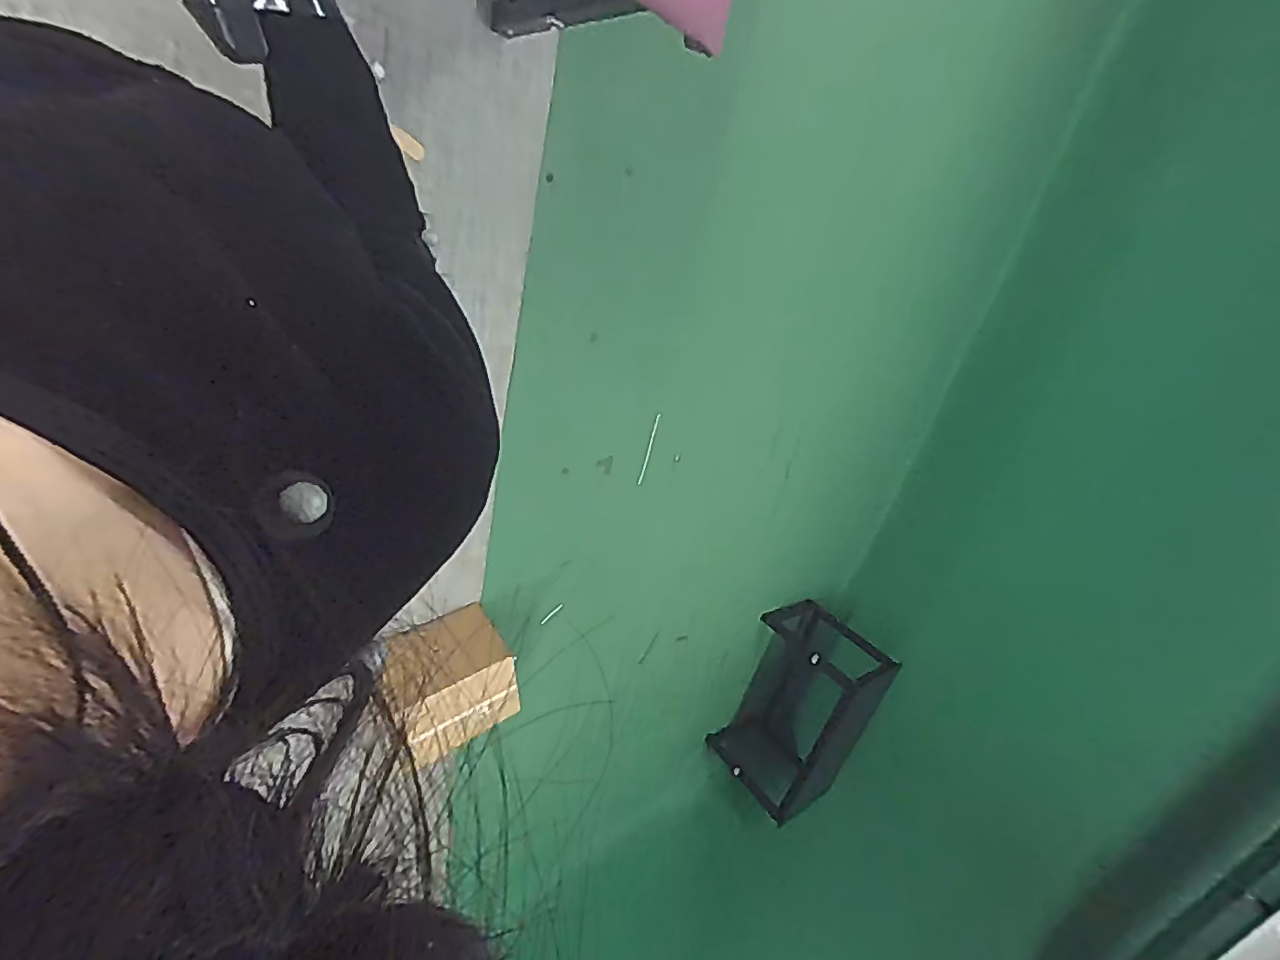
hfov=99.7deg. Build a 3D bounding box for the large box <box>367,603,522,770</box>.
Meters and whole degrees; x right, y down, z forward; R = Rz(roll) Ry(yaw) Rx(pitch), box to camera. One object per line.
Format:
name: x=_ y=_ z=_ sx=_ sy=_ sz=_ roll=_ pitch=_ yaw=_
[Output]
large box: x=-0.680 y=0.707 z=1.906 sx=0.408 sy=0.320 sz=0.320 roll=-21 pitch=130 yaw=-32
